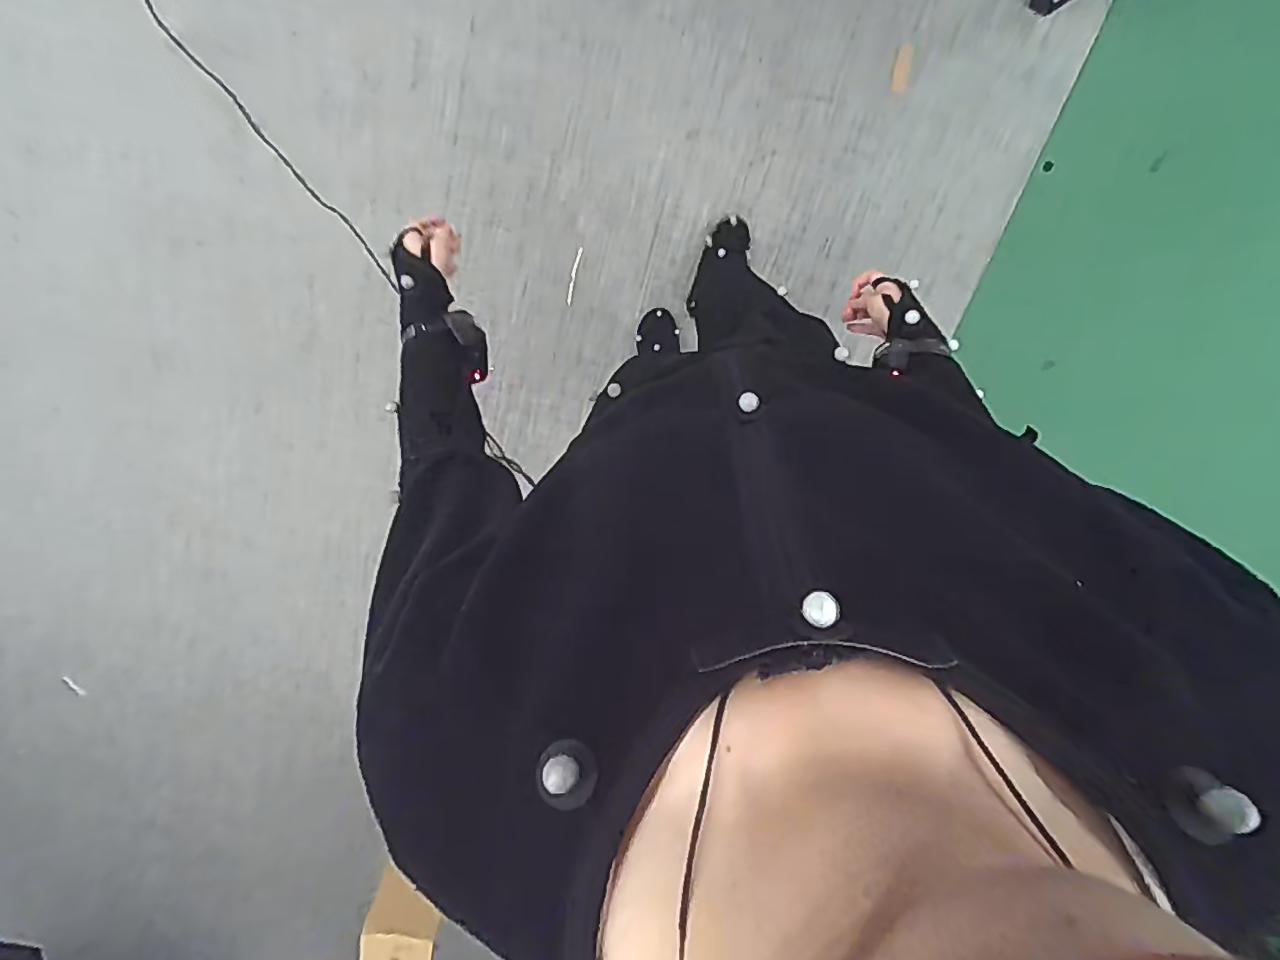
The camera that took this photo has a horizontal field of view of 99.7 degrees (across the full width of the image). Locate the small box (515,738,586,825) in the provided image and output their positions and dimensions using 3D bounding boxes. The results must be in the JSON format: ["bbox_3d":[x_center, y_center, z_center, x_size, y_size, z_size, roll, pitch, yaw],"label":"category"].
[{"bbox_3d":[-0.296,1.005,1.816,0.179,0.176,0.168,26,107,-11],"label":"small box"}]

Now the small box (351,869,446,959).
[{"bbox_3d":[-0.587,1.104,1.322,0.168,0.176,0.179,12,109,-6],"label":"small box"}]
